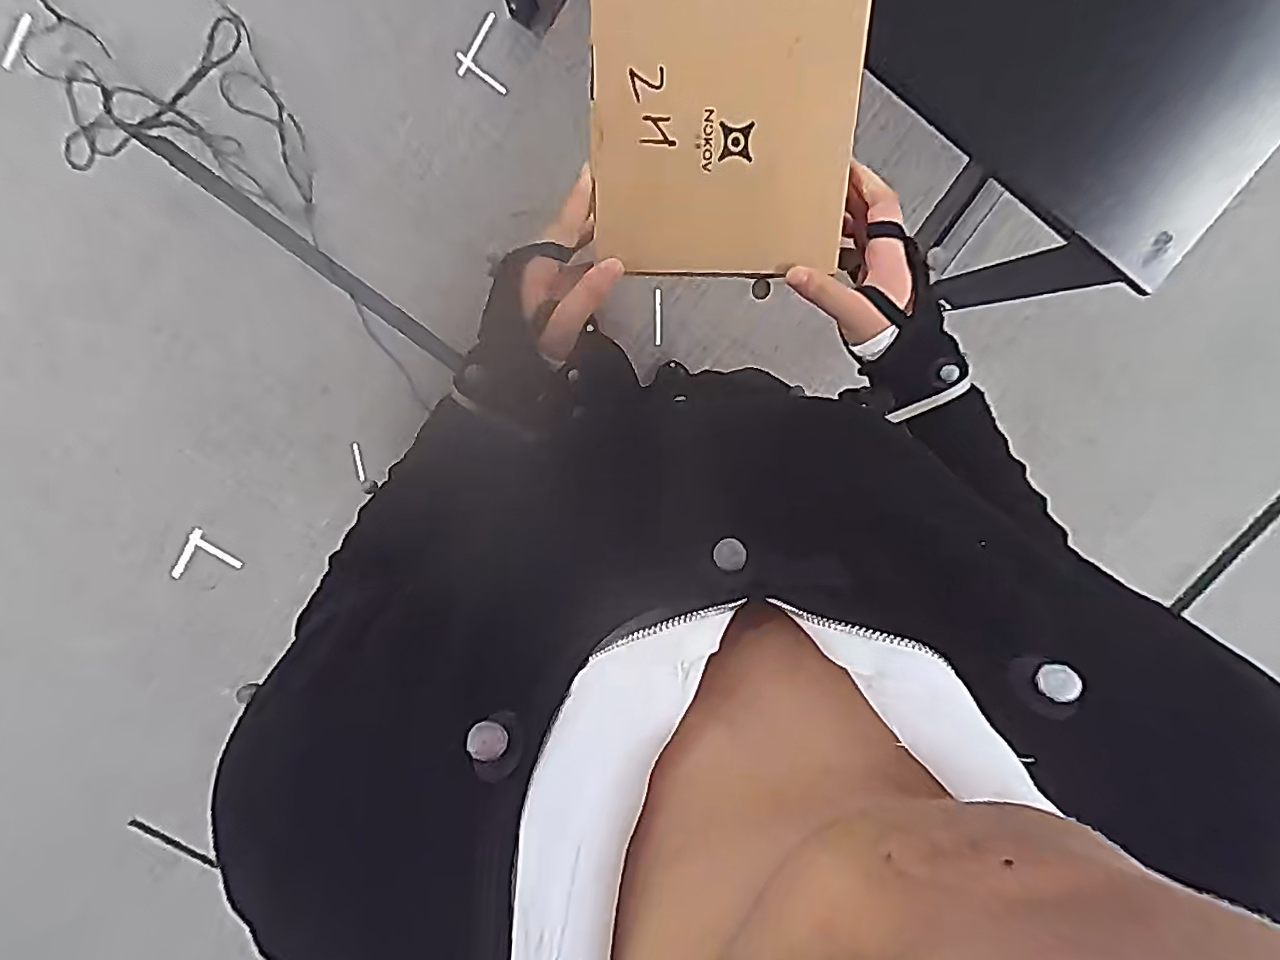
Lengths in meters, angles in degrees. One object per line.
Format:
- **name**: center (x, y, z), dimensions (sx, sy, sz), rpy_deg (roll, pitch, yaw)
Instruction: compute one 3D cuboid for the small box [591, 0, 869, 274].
- **small box**: center (0.052, -0.257, 0.434), dimensions (0.179, 0.176, 0.168), rpy_deg (1, 110, -1)
